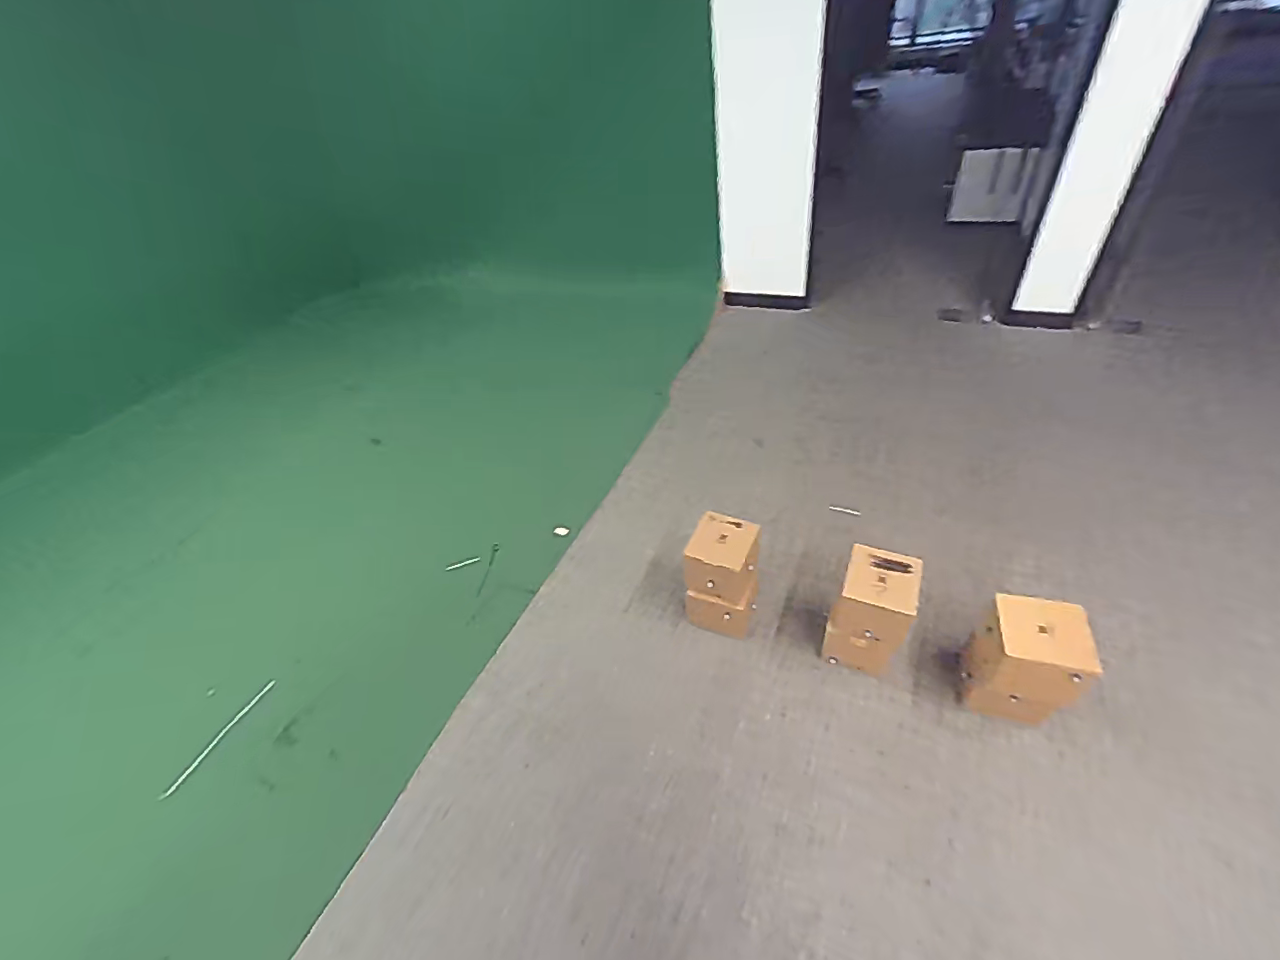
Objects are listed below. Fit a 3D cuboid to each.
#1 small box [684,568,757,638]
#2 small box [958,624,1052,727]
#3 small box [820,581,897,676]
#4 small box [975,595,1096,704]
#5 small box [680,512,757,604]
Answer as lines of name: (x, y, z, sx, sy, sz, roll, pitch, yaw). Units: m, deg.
small box: (0.249, 0.357, 1.651, 0.179, 0.176, 0.168, 12, 47, 22)
small box: (0.921, 0.496, 1.369, 0.179, 0.176, 0.168, 11, 48, 21)
small box: (0.608, 0.418, 1.514, 0.168, 0.176, 0.179, 12, 47, 23)
small box: (0.895, 0.392, 1.247, 0.179, 0.176, 0.168, 7, 47, 17)
small box: (0.232, 0.227, 1.551, 0.168, 0.176, 0.179, 15, 50, 25)
